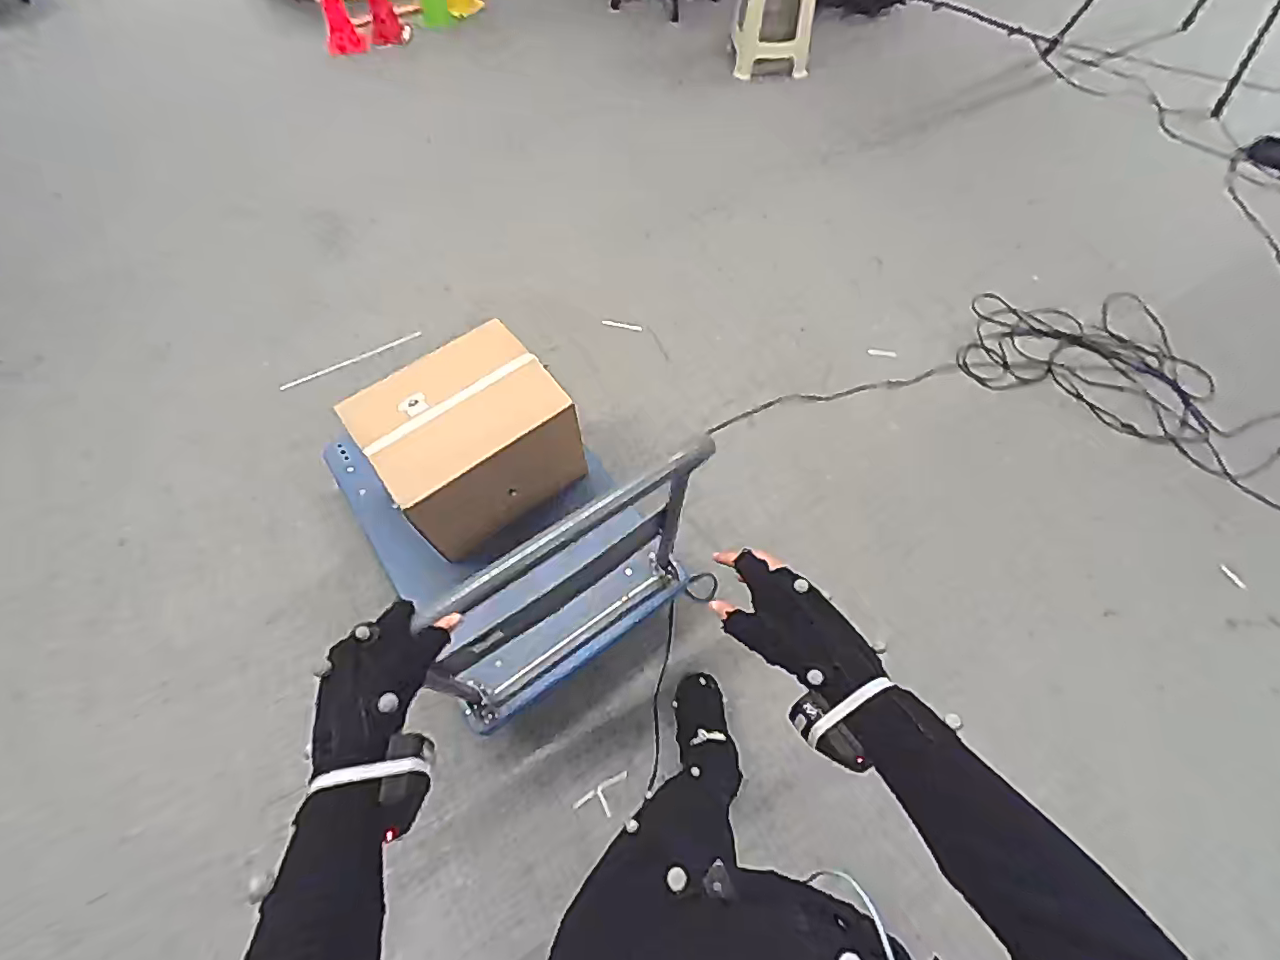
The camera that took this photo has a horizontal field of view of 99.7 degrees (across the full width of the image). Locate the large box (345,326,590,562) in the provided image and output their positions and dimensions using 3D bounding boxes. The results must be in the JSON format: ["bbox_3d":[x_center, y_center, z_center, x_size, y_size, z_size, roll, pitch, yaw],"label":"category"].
[{"bbox_3d":[-0.377,-0.078,1.280,0.408,0.320,0.320,-36,66,-16],"label":"large box"}]
